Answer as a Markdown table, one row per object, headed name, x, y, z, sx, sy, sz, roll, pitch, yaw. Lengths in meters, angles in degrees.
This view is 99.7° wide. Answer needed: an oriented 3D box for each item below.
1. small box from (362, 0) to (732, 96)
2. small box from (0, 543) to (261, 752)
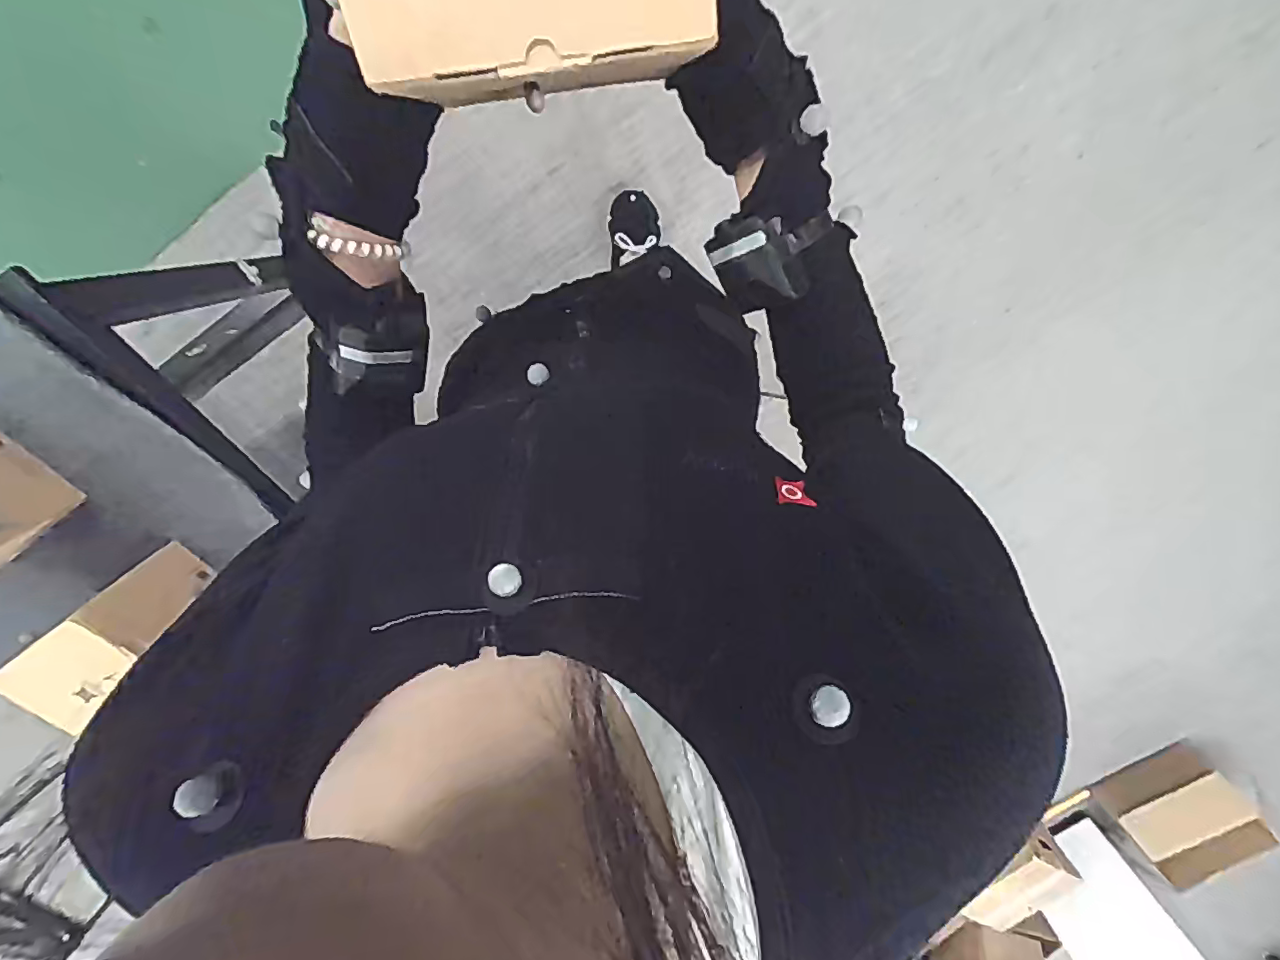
| name | x | y | z | sx | sy | sz | roll | pitch | yaw |
| --- | --- | --- | --- | --- | --- | --- | --- | --- | --- |
| small box | -0.057 | -0.310 | 0.270 | 0.168 | 0.176 | 0.179 | -10 | 125 | -2 |
| small box | -0.674 | 0.221 | 0.735 | 0.179 | 0.176 | 0.168 | -32 | 114 | 11 |
